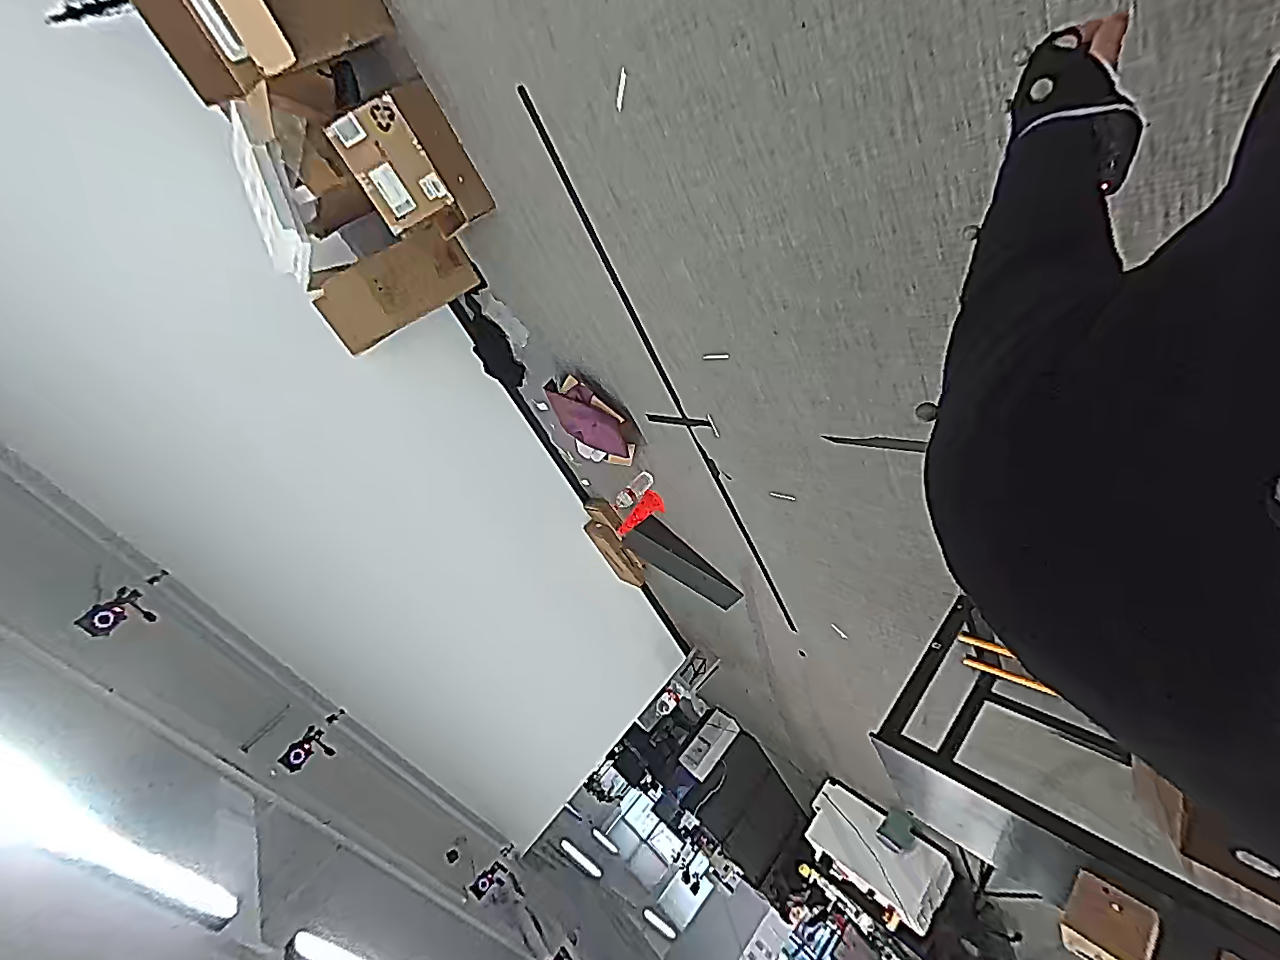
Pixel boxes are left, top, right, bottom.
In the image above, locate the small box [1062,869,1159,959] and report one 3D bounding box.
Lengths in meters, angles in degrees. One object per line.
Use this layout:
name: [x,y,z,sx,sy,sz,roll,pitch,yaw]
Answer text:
small box: [1.292,1.227,1.483,0.168,0.176,0.179,14,141,52]
